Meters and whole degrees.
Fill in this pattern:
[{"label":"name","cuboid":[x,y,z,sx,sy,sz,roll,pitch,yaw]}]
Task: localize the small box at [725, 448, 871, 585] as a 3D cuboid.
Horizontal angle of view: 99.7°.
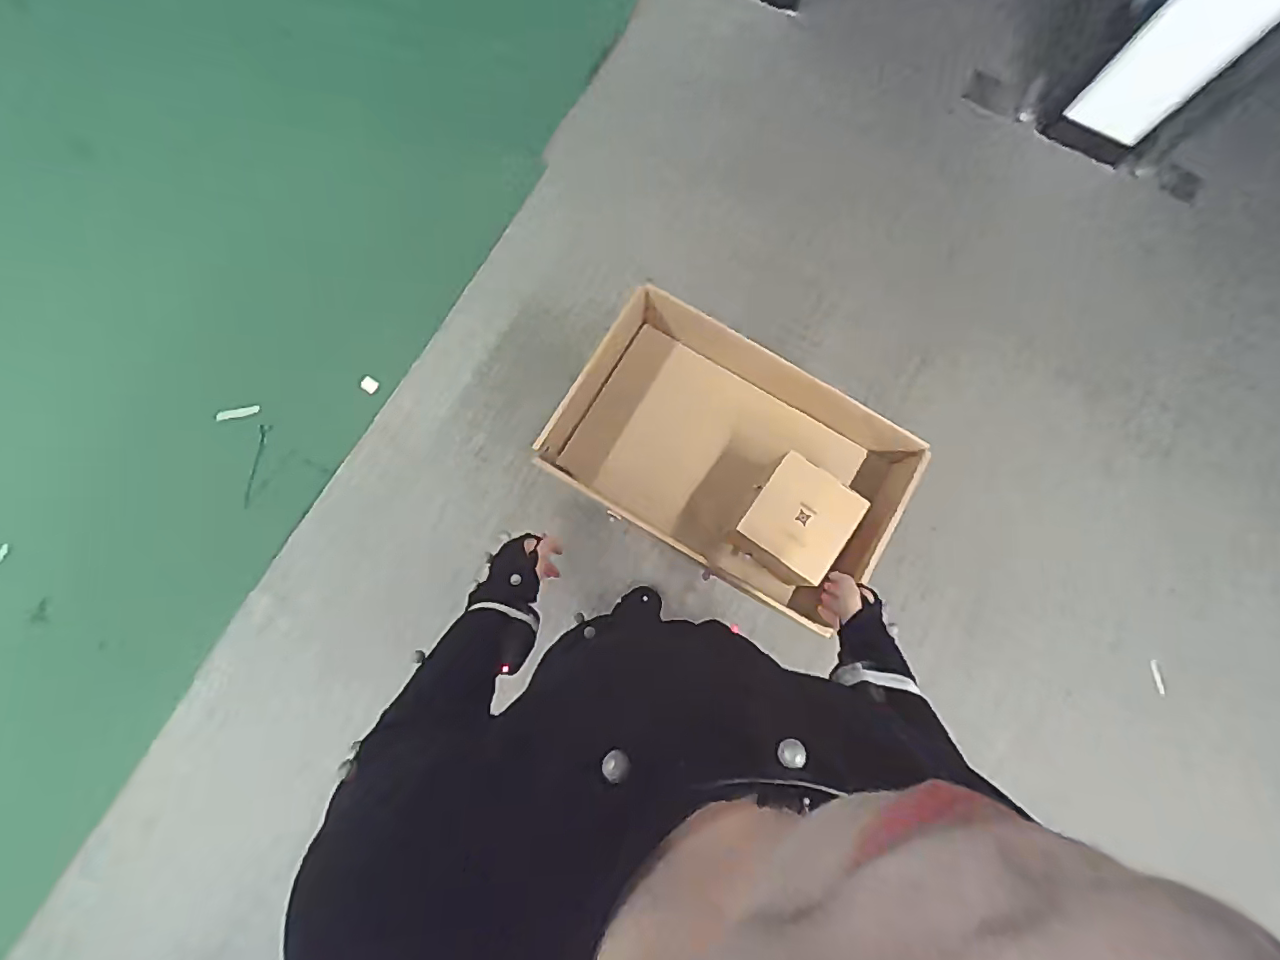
[{"label":"small box","cuboid":[0.273,0.072,0.982,0.168,0.176,0.179,37,81,6]}]
